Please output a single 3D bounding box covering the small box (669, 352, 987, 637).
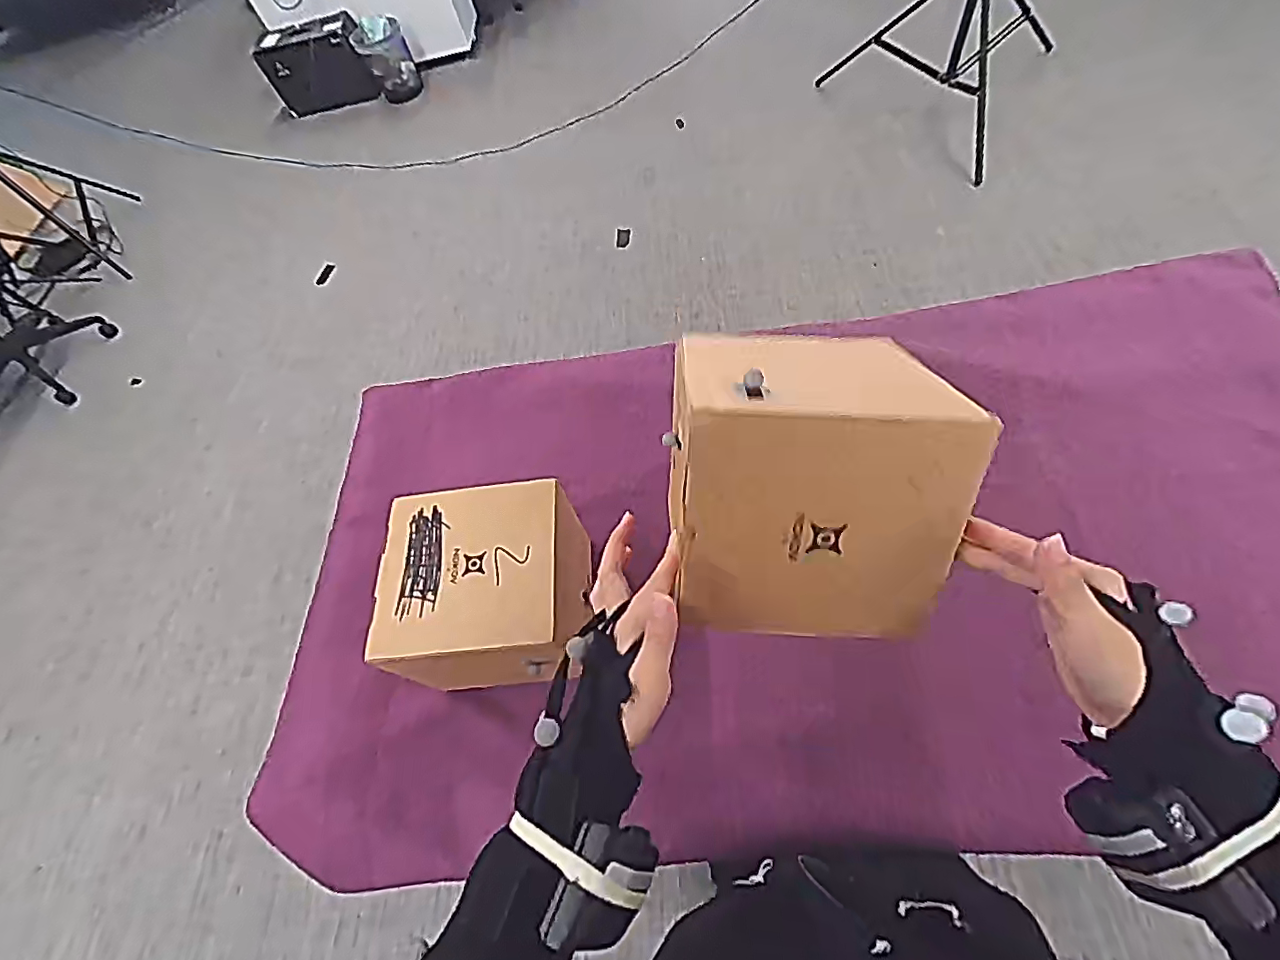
[{"bbox_3d":[0.113,-0.002,0.411,0.179,0.168,0.176,1,22,3],"label":"small box"}]
